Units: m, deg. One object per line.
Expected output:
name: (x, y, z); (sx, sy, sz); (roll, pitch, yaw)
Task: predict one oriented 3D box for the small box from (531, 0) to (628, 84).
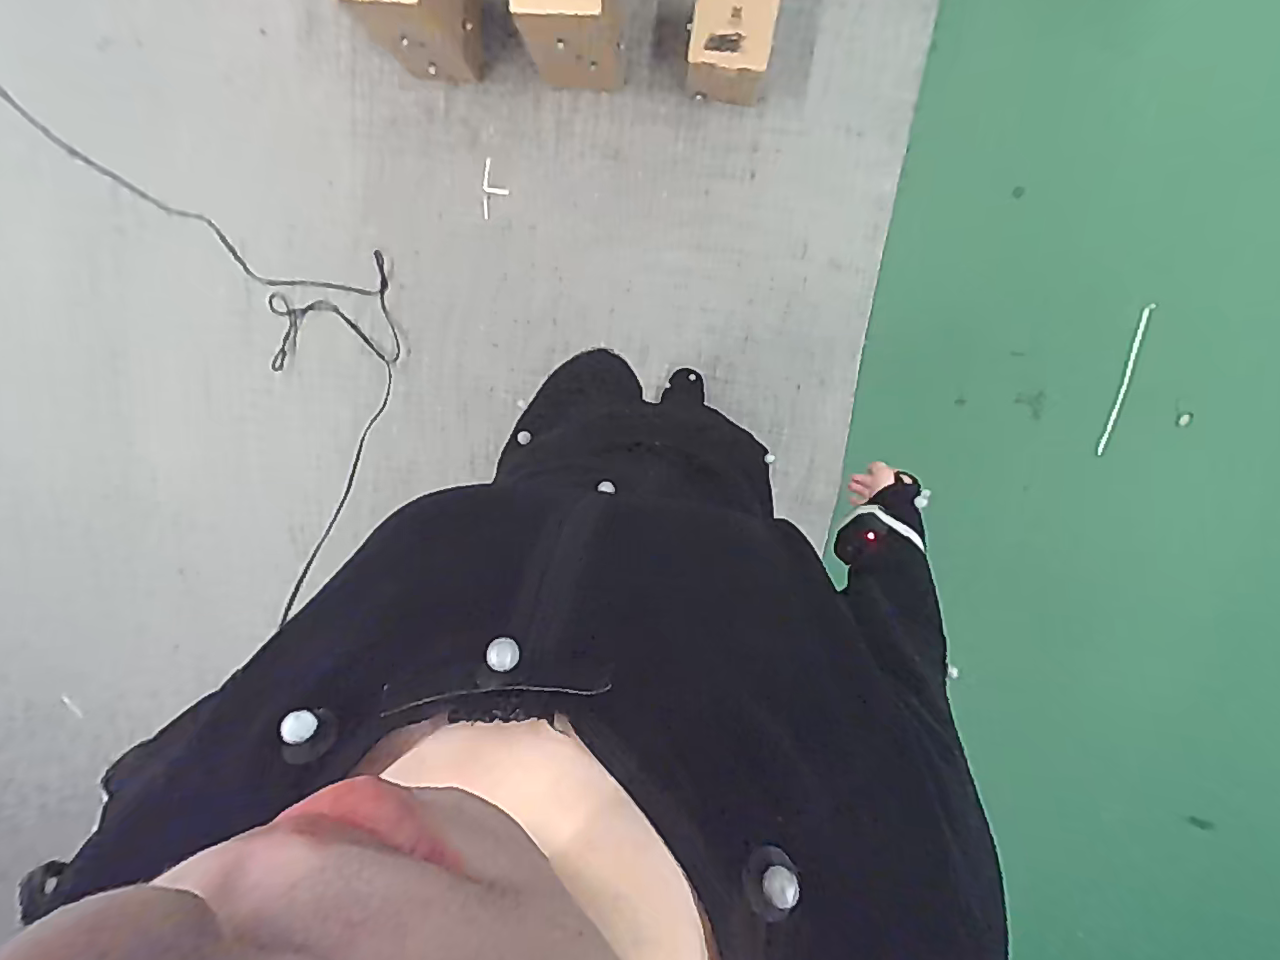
small box: (-0.127, -0.998, 1.179); (0.179, 0.176, 0.168); (6, 105, 2)
